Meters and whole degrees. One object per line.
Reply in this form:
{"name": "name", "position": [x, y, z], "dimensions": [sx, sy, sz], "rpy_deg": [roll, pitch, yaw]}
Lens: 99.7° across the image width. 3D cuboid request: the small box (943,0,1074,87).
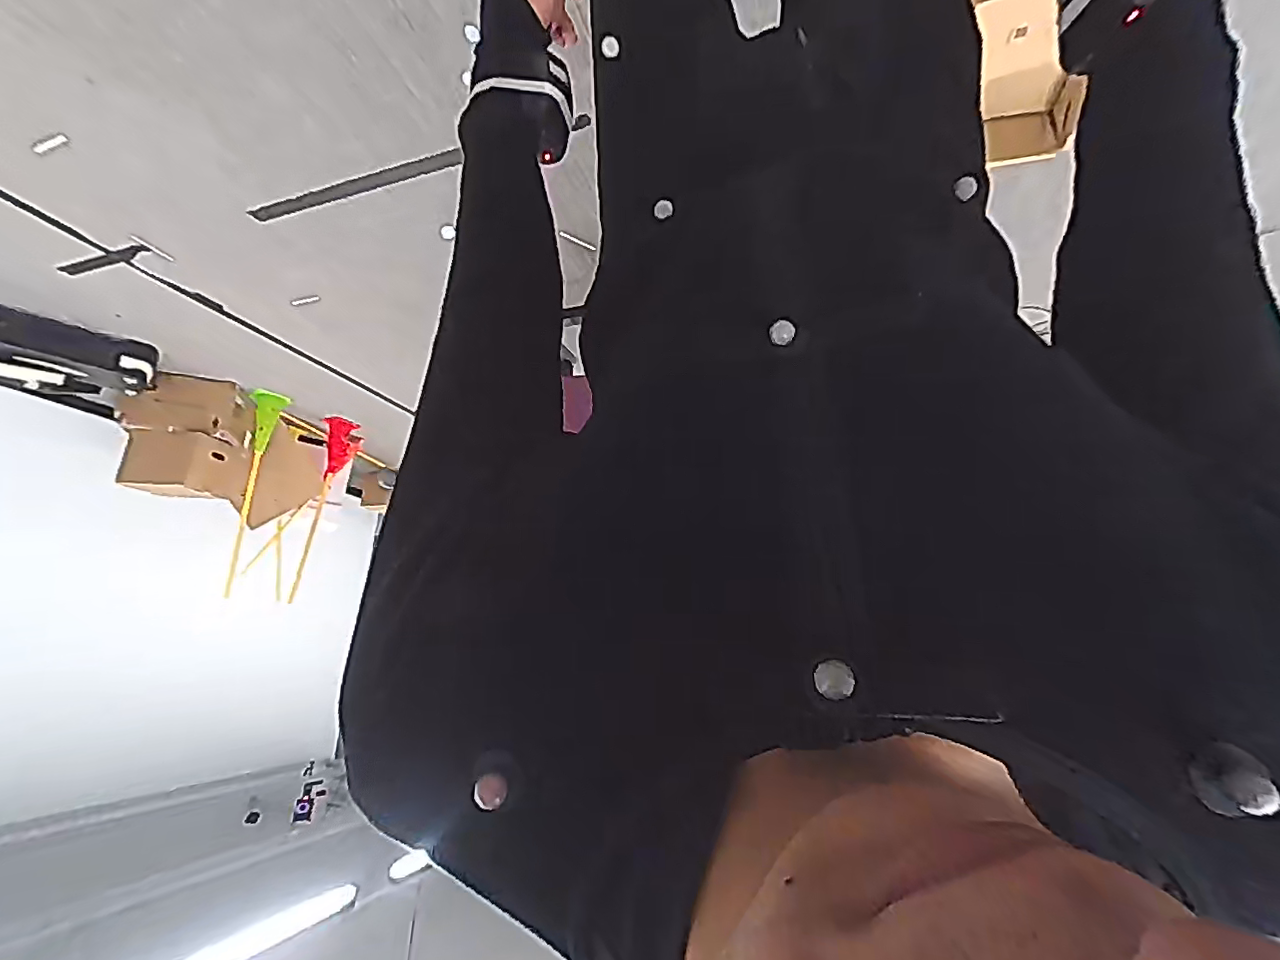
{"name": "small box", "position": [0.692, -0.905, 1.026], "dimensions": [0.179, 0.176, 0.168], "rpy_deg": [-3, 164, 18]}
